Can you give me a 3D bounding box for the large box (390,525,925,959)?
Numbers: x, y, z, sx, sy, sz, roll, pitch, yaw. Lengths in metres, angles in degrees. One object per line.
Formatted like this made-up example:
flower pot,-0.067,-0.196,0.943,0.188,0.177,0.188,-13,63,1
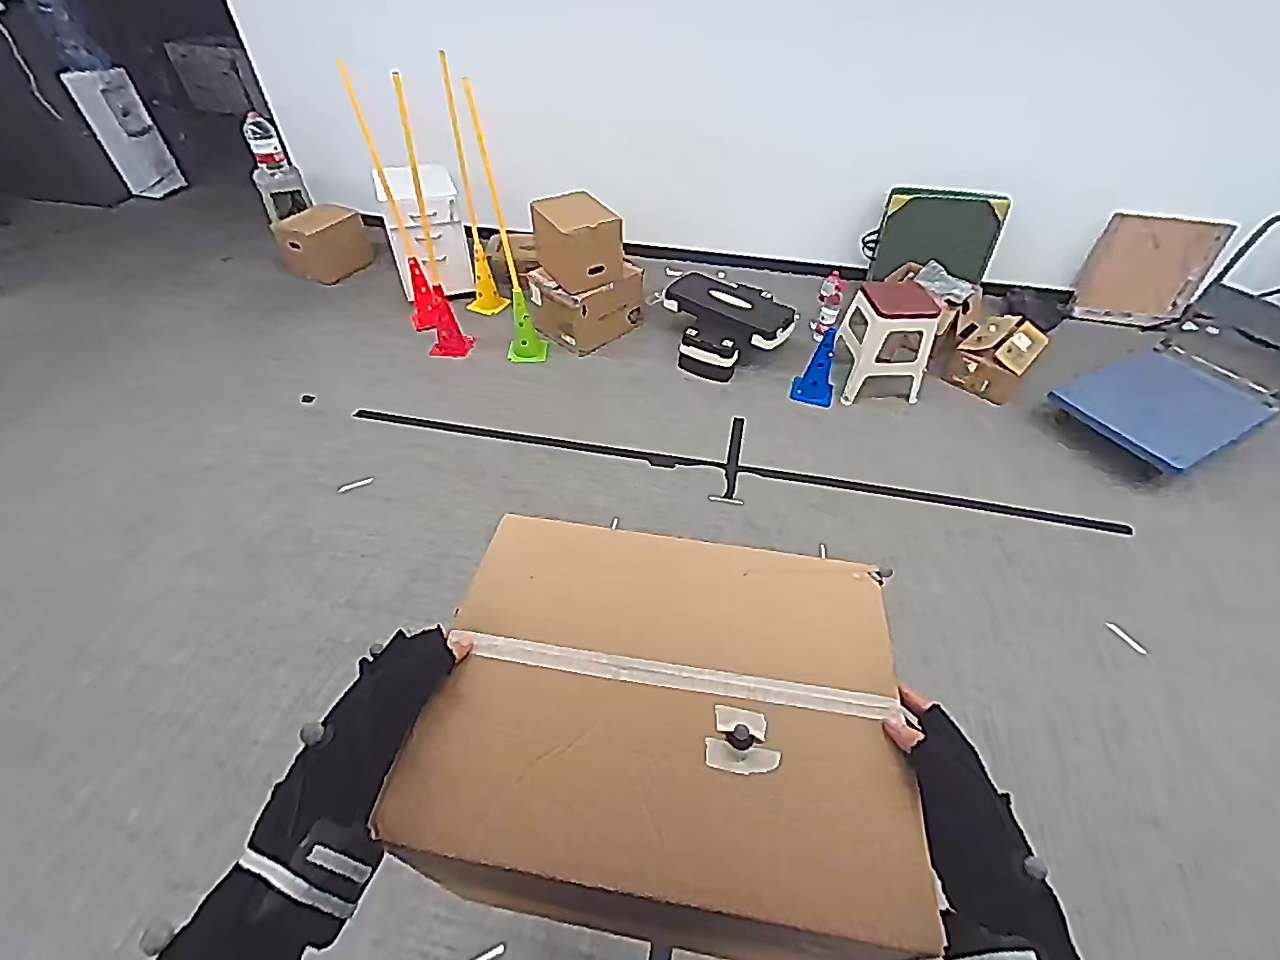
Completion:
large box,0.021,0.285,0.600,0.408,0.320,0.320,8,46,6
